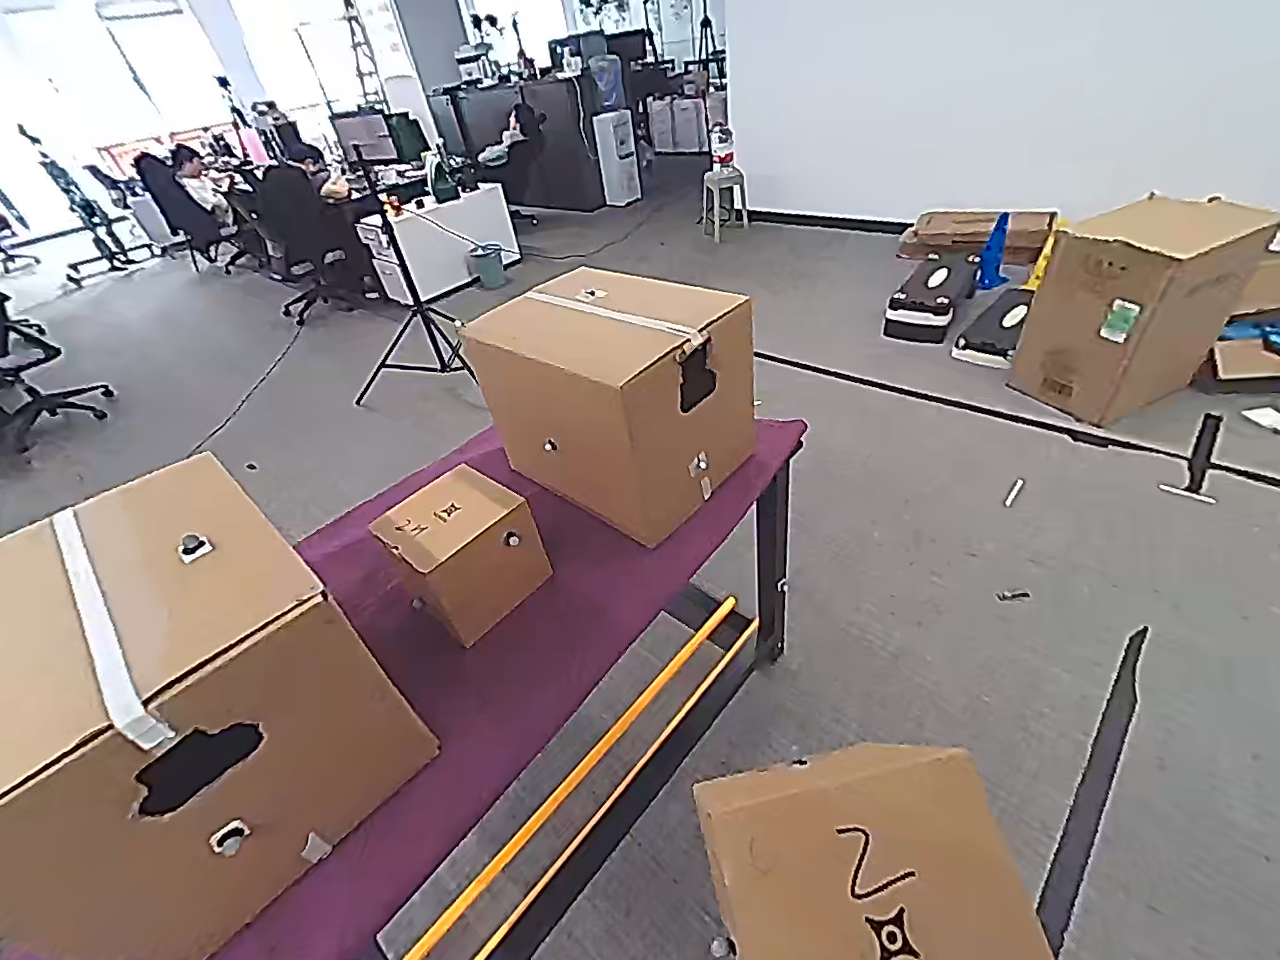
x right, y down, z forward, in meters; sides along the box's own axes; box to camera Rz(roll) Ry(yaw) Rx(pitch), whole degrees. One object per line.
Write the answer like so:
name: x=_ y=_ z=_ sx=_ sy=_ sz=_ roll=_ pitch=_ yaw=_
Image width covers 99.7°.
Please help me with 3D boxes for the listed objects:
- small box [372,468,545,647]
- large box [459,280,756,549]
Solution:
small box: x=-0.266 y=0.116 z=0.833 sx=0.168 sy=0.176 sz=0.179 roll=24 pitch=49 yaw=36
large box: x=-0.043 y=-0.139 z=0.985 sx=0.408 sy=0.320 sz=0.320 roll=24 pitch=50 yaw=37
